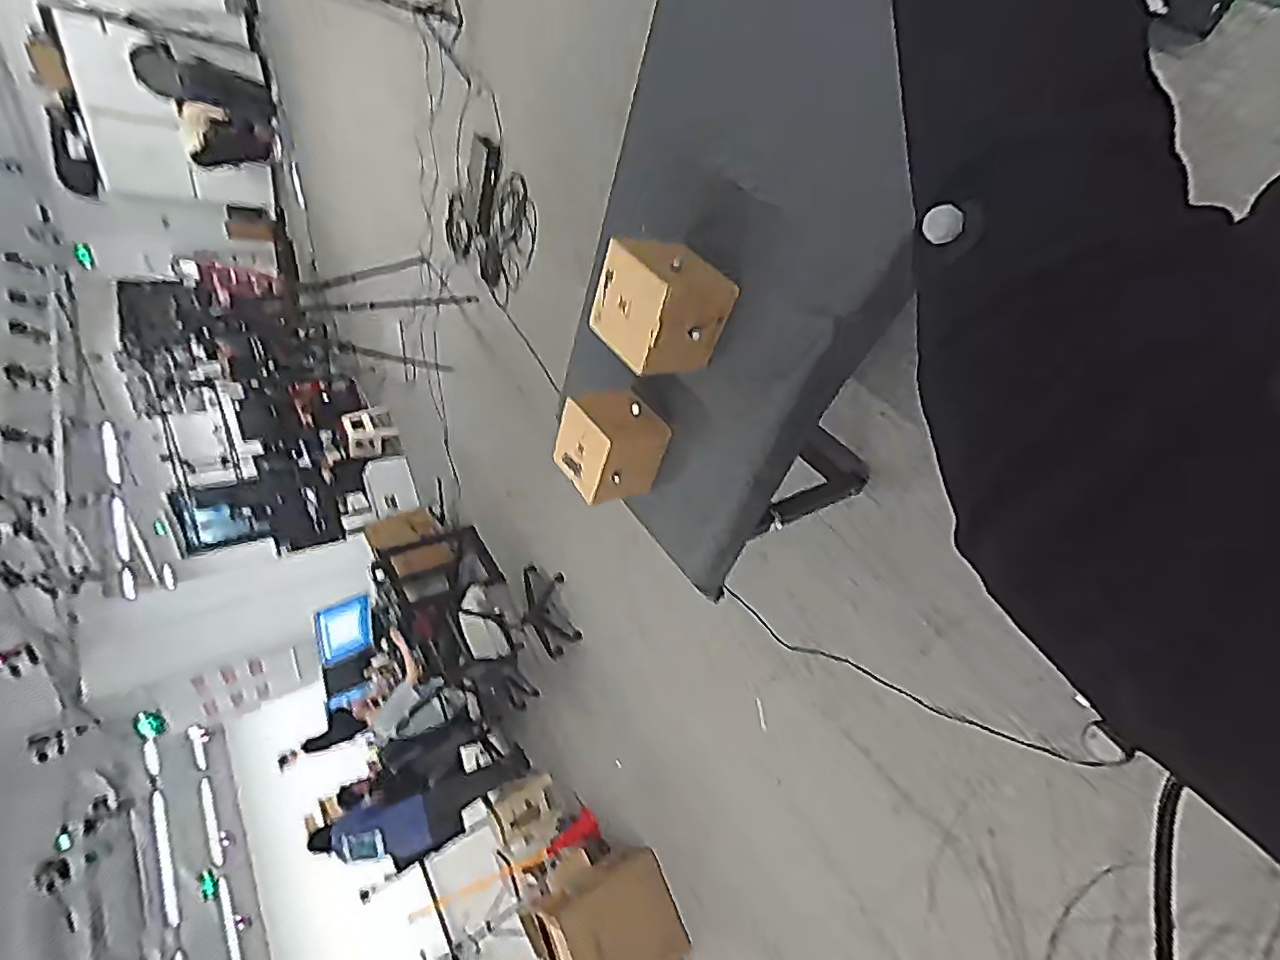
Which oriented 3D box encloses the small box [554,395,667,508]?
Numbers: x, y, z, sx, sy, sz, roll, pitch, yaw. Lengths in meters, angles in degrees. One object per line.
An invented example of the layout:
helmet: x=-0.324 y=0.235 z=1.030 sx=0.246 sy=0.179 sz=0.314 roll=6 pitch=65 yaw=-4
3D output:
small box: x=-0.065 y=-0.068 z=1.189 sx=0.168 sy=0.176 sz=0.179 roll=47 pitch=134 yaw=31

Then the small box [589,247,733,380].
small box: x=0.038 y=-0.305 z=0.980 sx=0.179 sy=0.176 sz=0.168 roll=49 pitch=136 yaw=29
